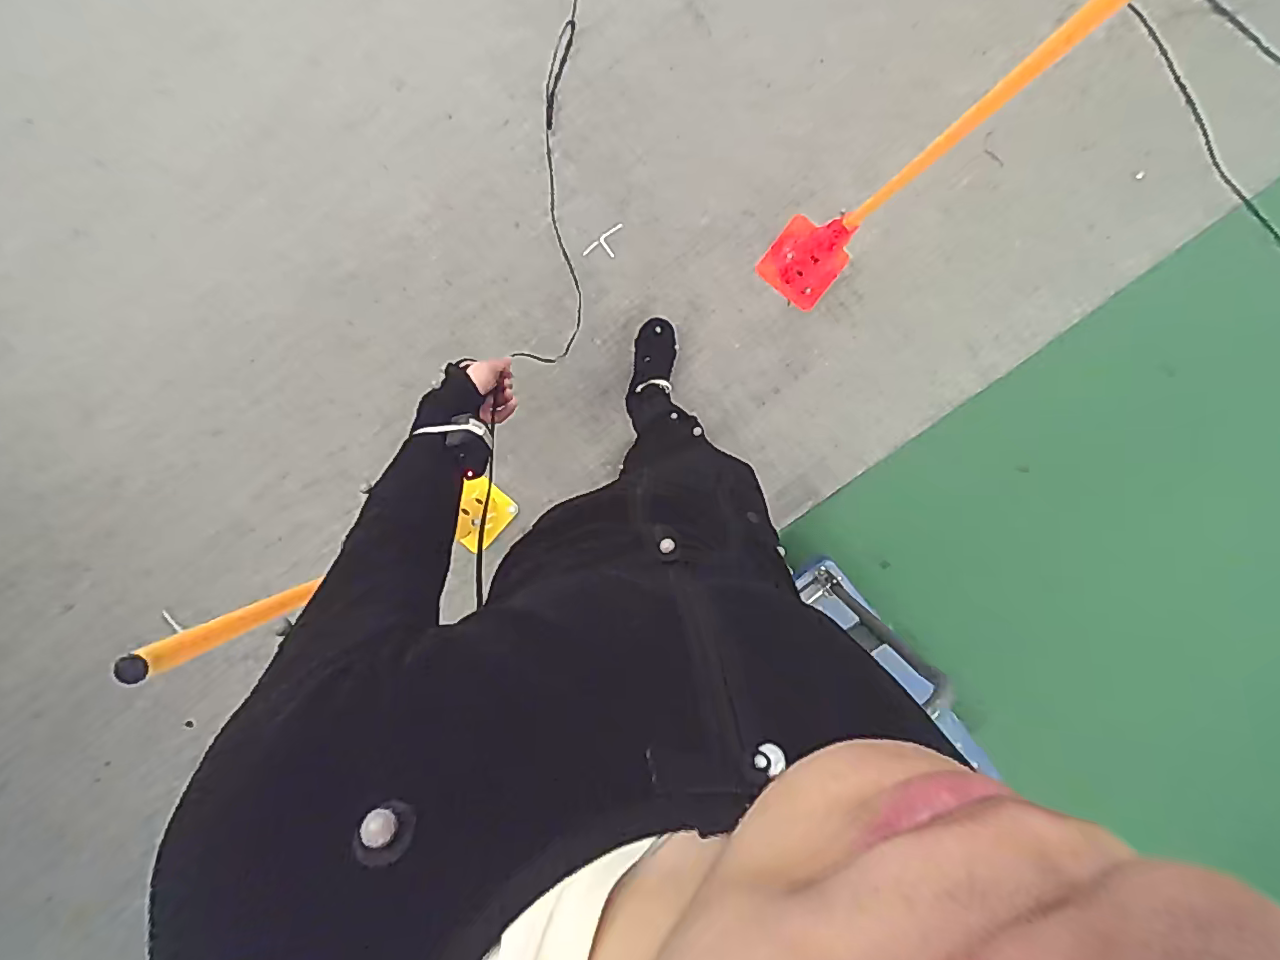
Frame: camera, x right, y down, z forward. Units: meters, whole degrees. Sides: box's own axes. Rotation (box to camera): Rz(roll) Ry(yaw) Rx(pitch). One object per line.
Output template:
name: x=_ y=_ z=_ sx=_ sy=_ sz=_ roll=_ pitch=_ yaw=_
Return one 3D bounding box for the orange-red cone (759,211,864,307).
orange-red cone: x=0.462 y=-0.590 z=1.342 sx=0.198 sy=0.360 sz=0.199 roll=39 pitch=95 yaw=-6
